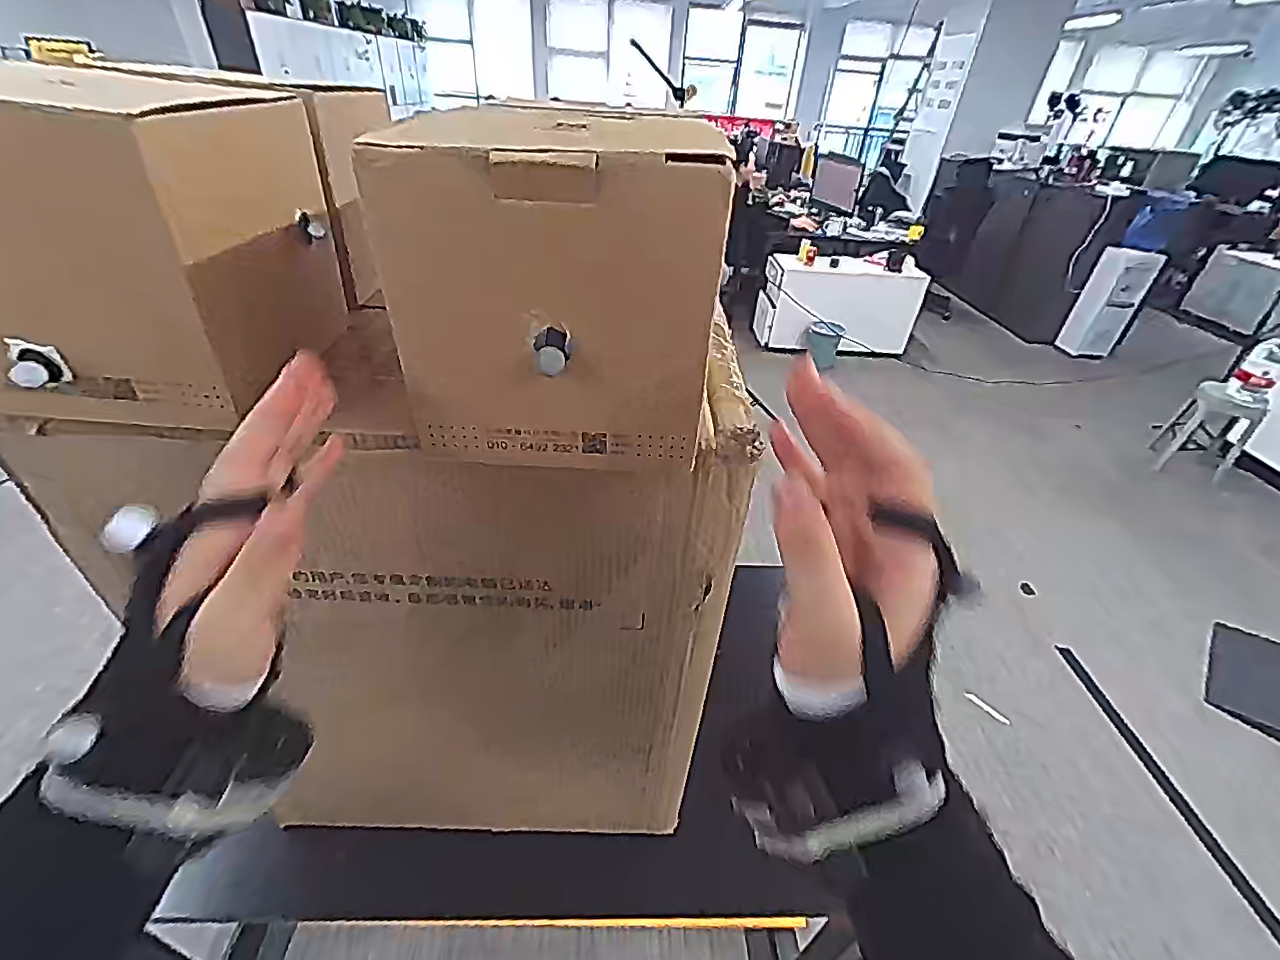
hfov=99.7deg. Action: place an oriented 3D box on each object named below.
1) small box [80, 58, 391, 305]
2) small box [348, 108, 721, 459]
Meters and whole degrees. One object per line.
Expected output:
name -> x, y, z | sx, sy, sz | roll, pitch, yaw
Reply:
small box -> -0.339, -0.278, 0.512 | 0.168, 0.176, 0.179 | 1, 34, -5
small box -> -0.045, -0.127, 0.344 | 0.168, 0.176, 0.179 | 2, 38, -1
